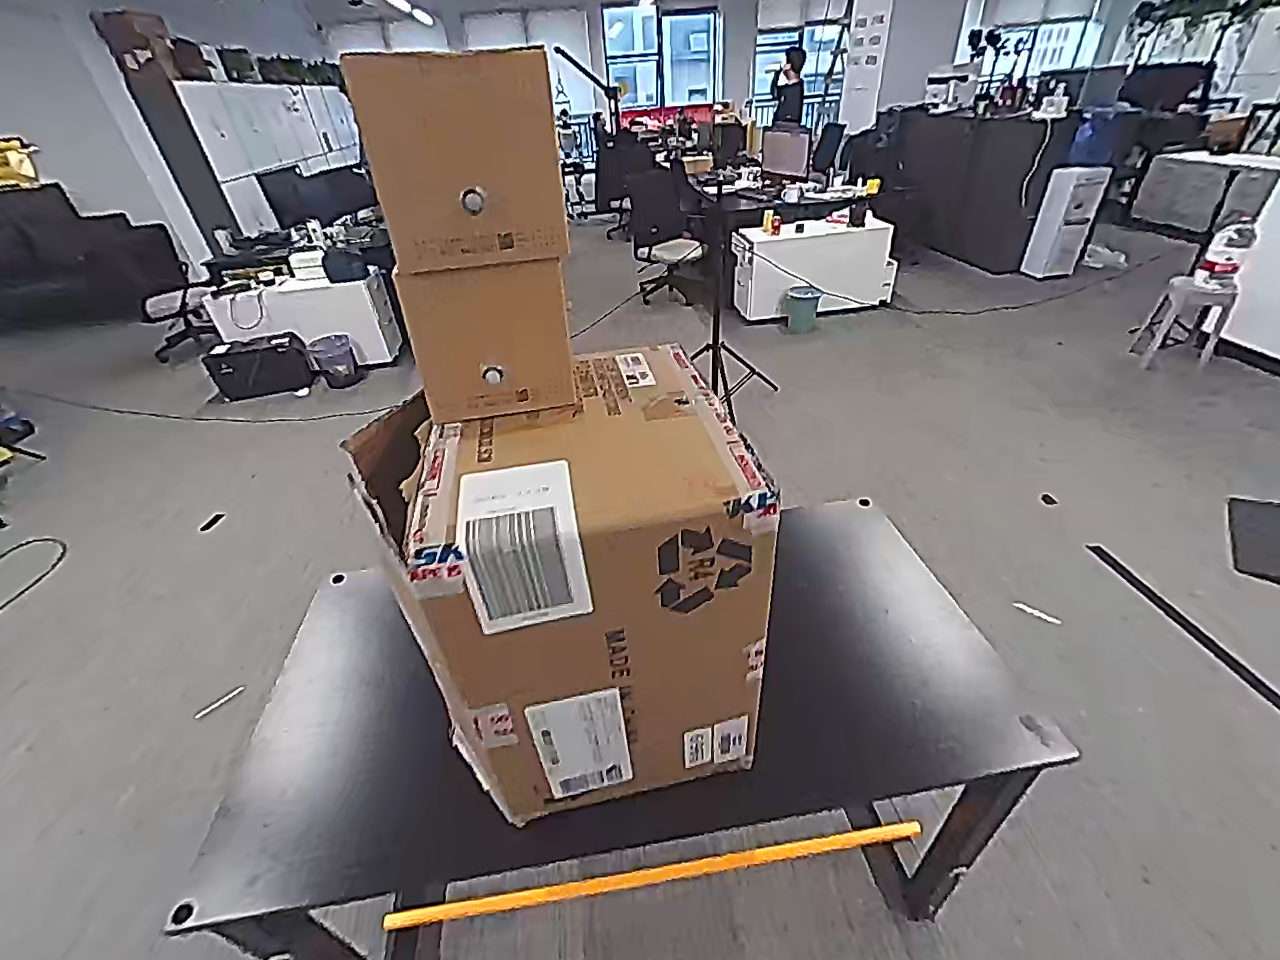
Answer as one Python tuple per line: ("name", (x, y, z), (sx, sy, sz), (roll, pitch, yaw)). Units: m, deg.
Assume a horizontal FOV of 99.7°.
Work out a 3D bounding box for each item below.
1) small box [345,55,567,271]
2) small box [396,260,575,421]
("small box", (-0.176, -0.322, 0.558), (0.168, 0.176, 0.179), (-11, 35, -11))
("small box", (-0.177, -0.188, 0.656), (0.168, 0.176, 0.179), (-10, 35, -10))
